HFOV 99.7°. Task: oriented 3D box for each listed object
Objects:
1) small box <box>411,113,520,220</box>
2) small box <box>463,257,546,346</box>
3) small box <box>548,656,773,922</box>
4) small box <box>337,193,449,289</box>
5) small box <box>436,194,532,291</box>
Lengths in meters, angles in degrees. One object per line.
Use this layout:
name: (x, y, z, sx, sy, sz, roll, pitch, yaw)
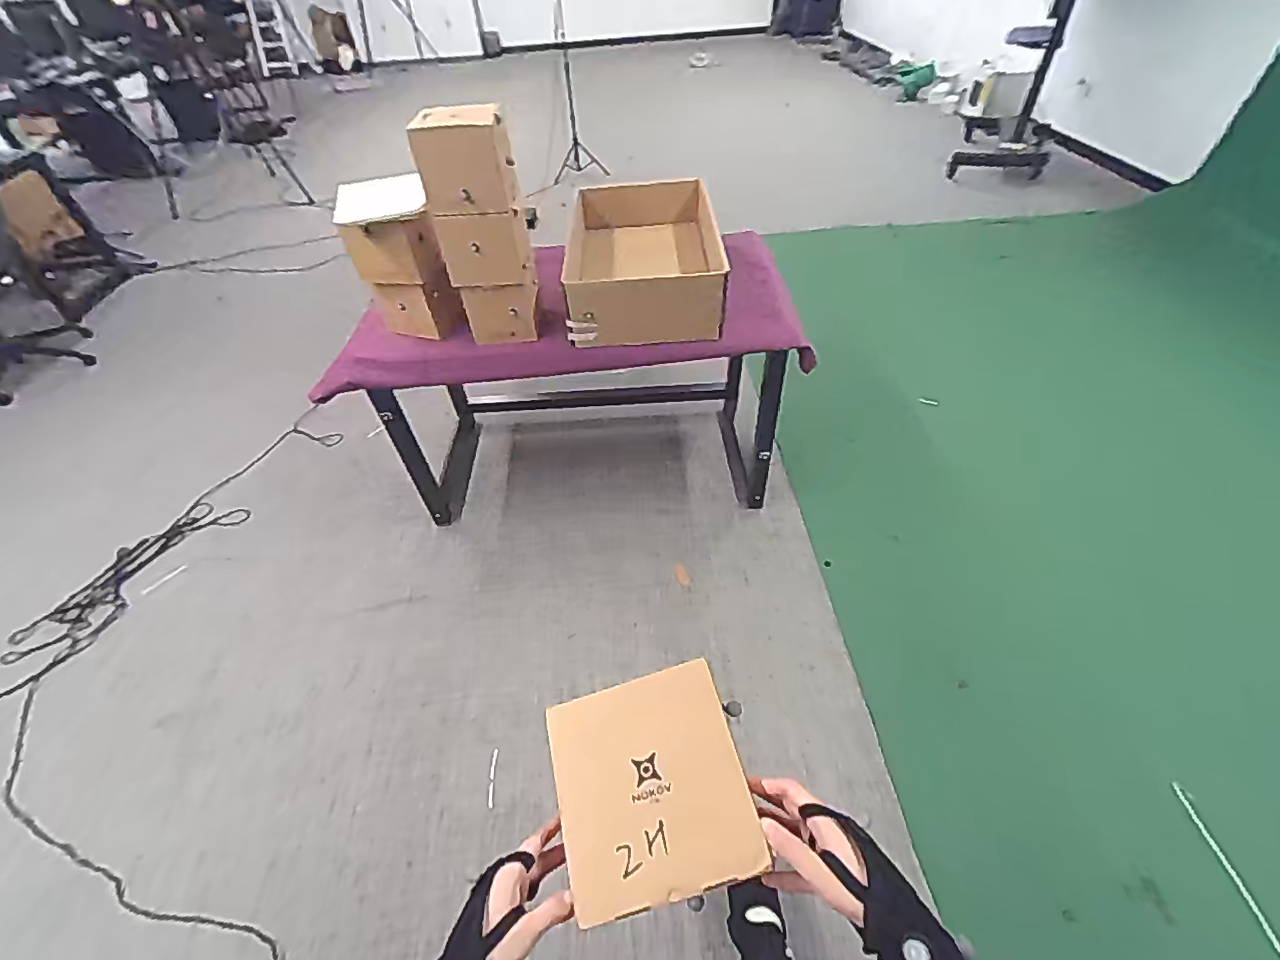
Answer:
small box: (-0.370, -0.686, 1.187, 0.179, 0.176, 0.168, -2, 45, 0)
small box: (-0.349, -0.467, 1.430, 0.168, 0.176, 0.179, -2, 45, 1)
small box: (0.022, 0.304, 0.541, 0.168, 0.176, 0.179, -19, 55, 1)
small box: (-0.593, -0.589, 1.339, 0.179, 0.176, 0.168, 6, 47, 10)
small box: (-0.364, -0.572, 1.304, 0.179, 0.176, 0.168, -3, 45, 0)
